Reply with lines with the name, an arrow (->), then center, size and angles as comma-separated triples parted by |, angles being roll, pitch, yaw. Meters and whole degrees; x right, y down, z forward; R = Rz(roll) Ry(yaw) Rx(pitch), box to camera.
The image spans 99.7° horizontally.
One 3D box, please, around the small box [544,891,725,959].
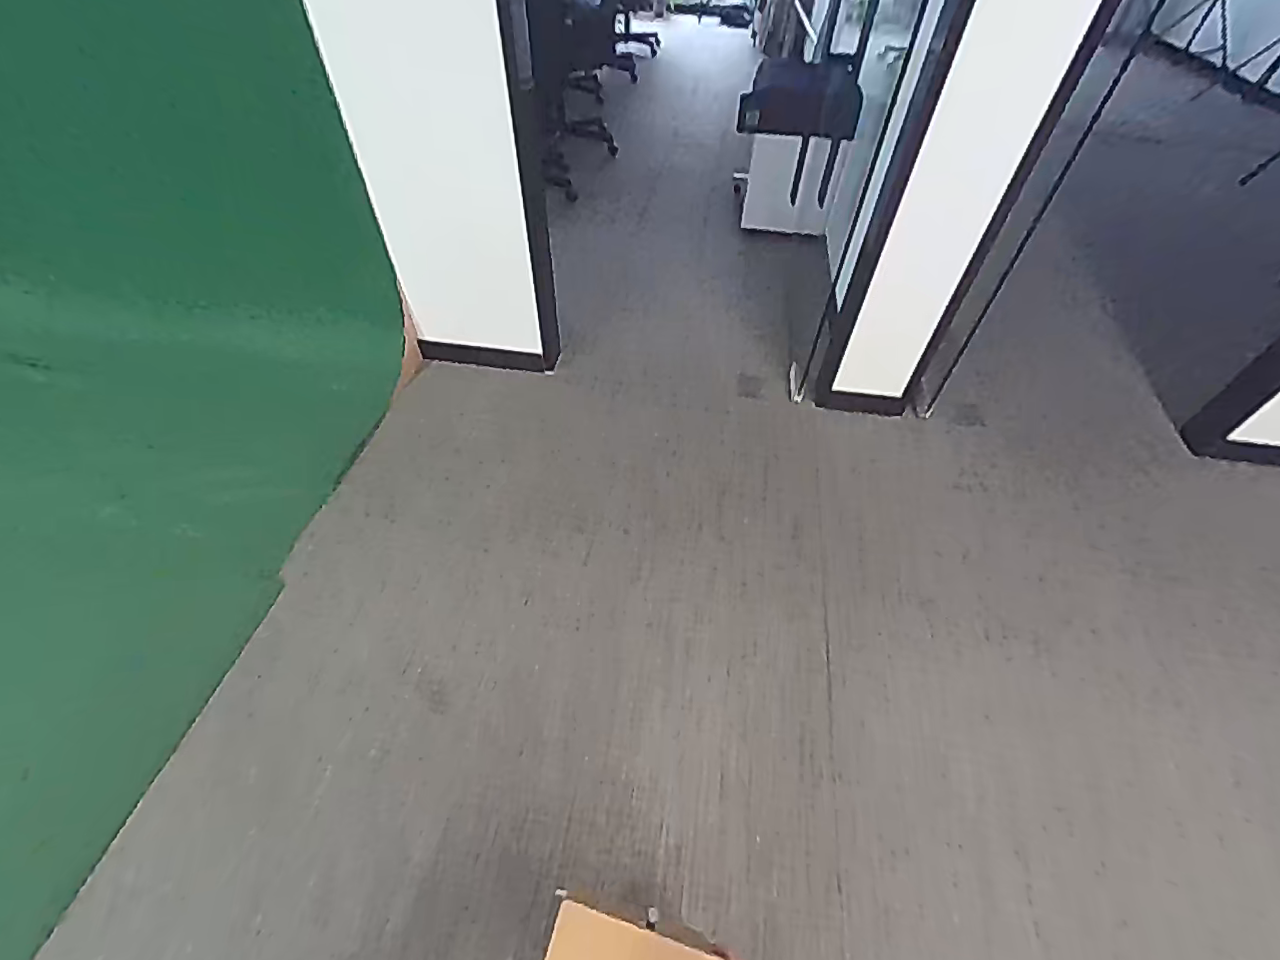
small box -> -0.024, 0.555, 0.561 | 0.179, 0.176, 0.168 | 17, 59, 5
